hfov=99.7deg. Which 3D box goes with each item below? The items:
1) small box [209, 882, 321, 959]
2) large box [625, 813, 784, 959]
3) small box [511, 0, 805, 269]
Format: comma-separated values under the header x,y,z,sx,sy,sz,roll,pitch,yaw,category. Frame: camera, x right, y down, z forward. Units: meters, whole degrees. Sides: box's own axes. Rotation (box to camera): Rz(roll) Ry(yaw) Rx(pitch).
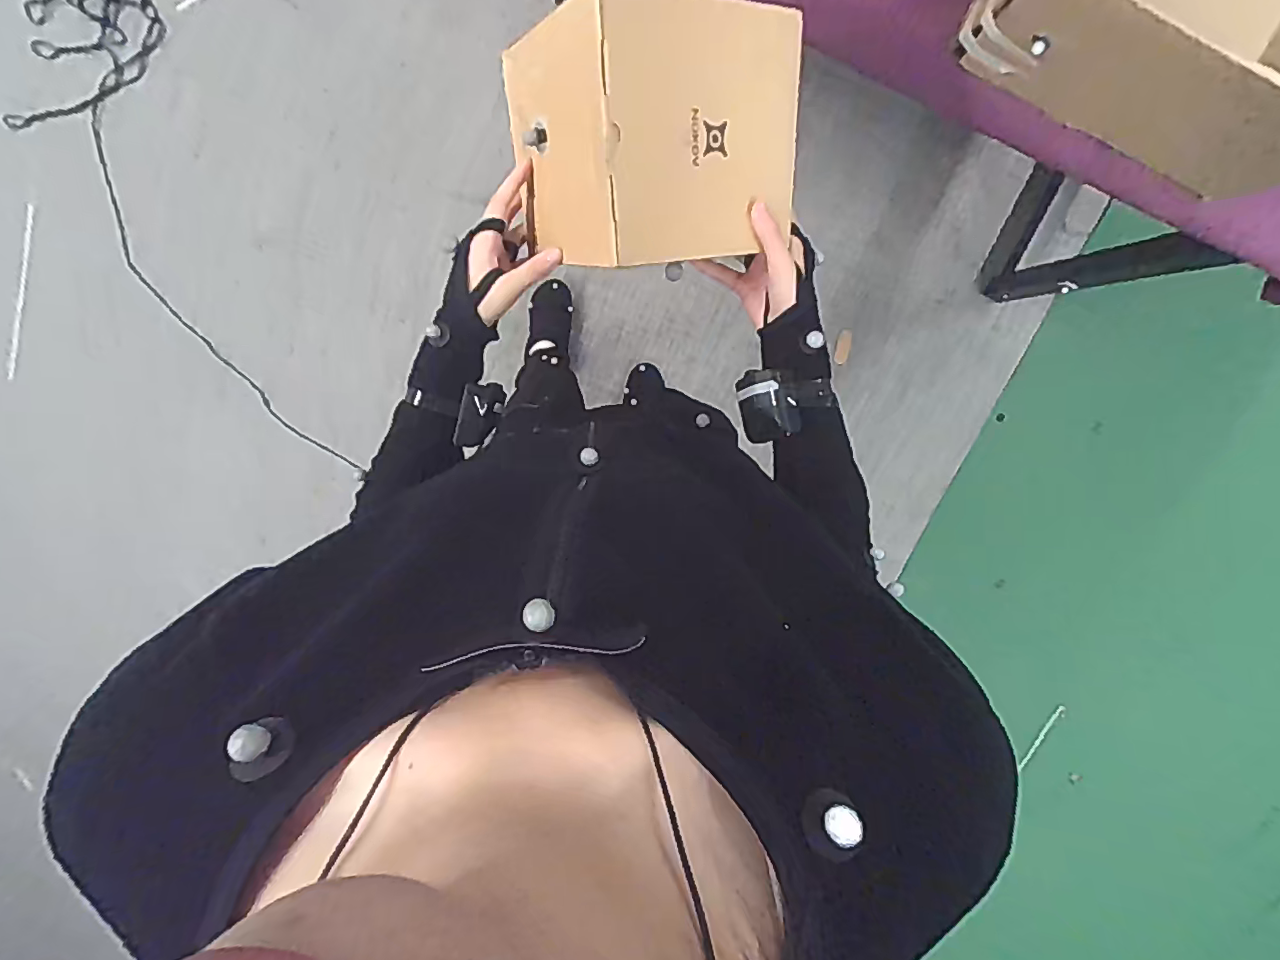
x,y,z,sx,sy,sz,roll,pitch,yaw,category
-0.967,1.194,1.384,0.168,0.176,0.179,41,101,-7,small box
0.171,1.270,1.630,0.408,0.320,0.320,8,103,-2,large box
0.010,-0.276,0.460,0.179,0.176,0.168,-17,119,-27,small box
